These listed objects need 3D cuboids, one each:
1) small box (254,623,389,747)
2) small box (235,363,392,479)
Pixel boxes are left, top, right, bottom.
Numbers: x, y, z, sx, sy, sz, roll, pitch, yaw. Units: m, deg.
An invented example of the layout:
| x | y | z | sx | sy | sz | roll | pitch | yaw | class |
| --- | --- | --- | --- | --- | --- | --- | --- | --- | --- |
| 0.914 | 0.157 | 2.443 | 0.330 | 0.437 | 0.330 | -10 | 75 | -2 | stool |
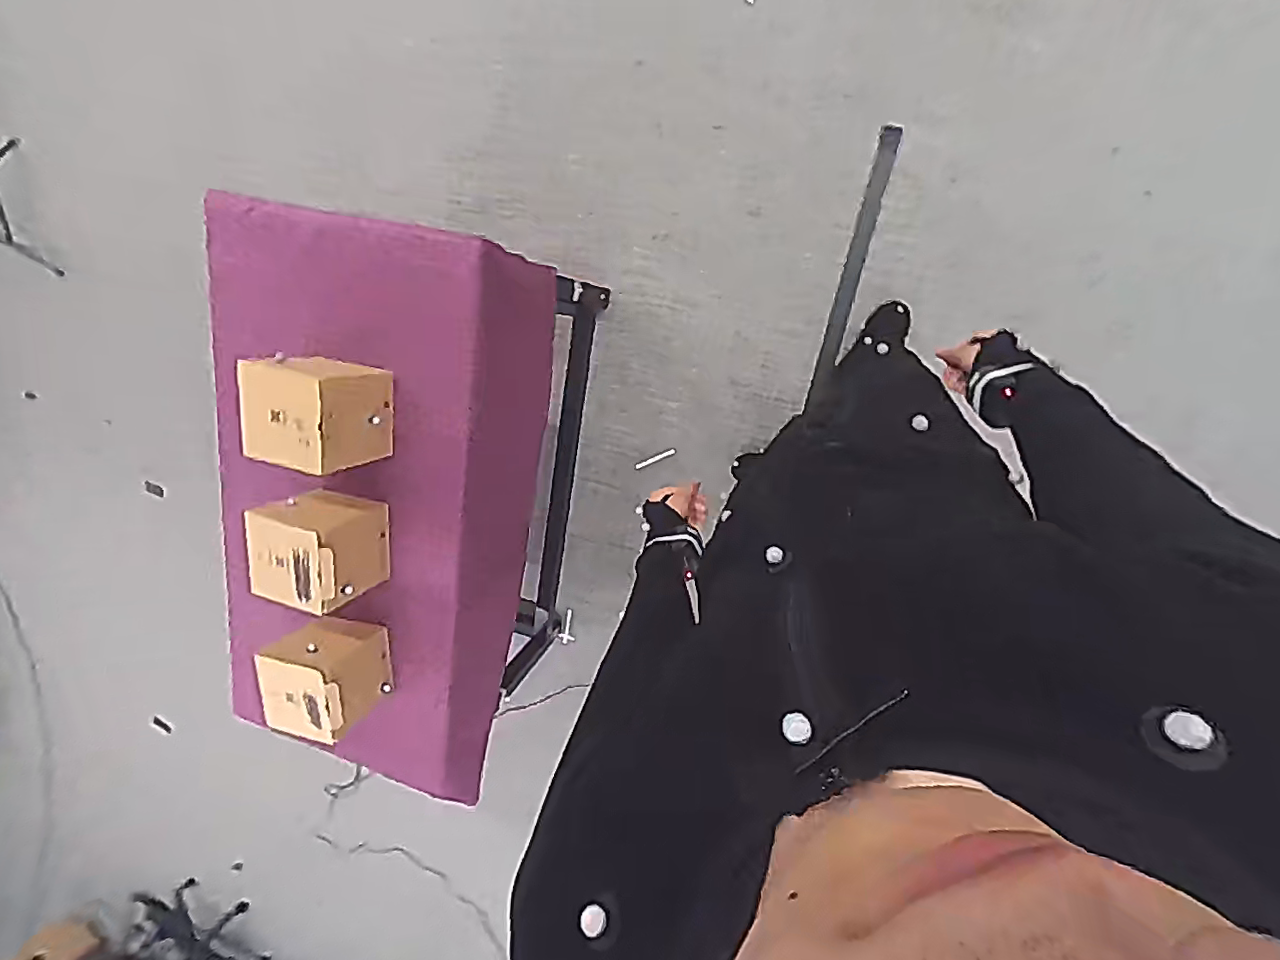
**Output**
| x | y | z | sx | sy | sz | roll | pitch | yaw | class |
| --- | --- | --- | --- | --- | --- | --- | --- | --- | --- |
| -0.649 | 0.416 | 1.128 | 0.179 | 0.176 | 0.168 | 4 | 105 | 16 | small box |
| -0.579 | -0.115 | 0.971 | 0.179 | 0.176 | 0.168 | 12 | 107 | 13 | small box |
